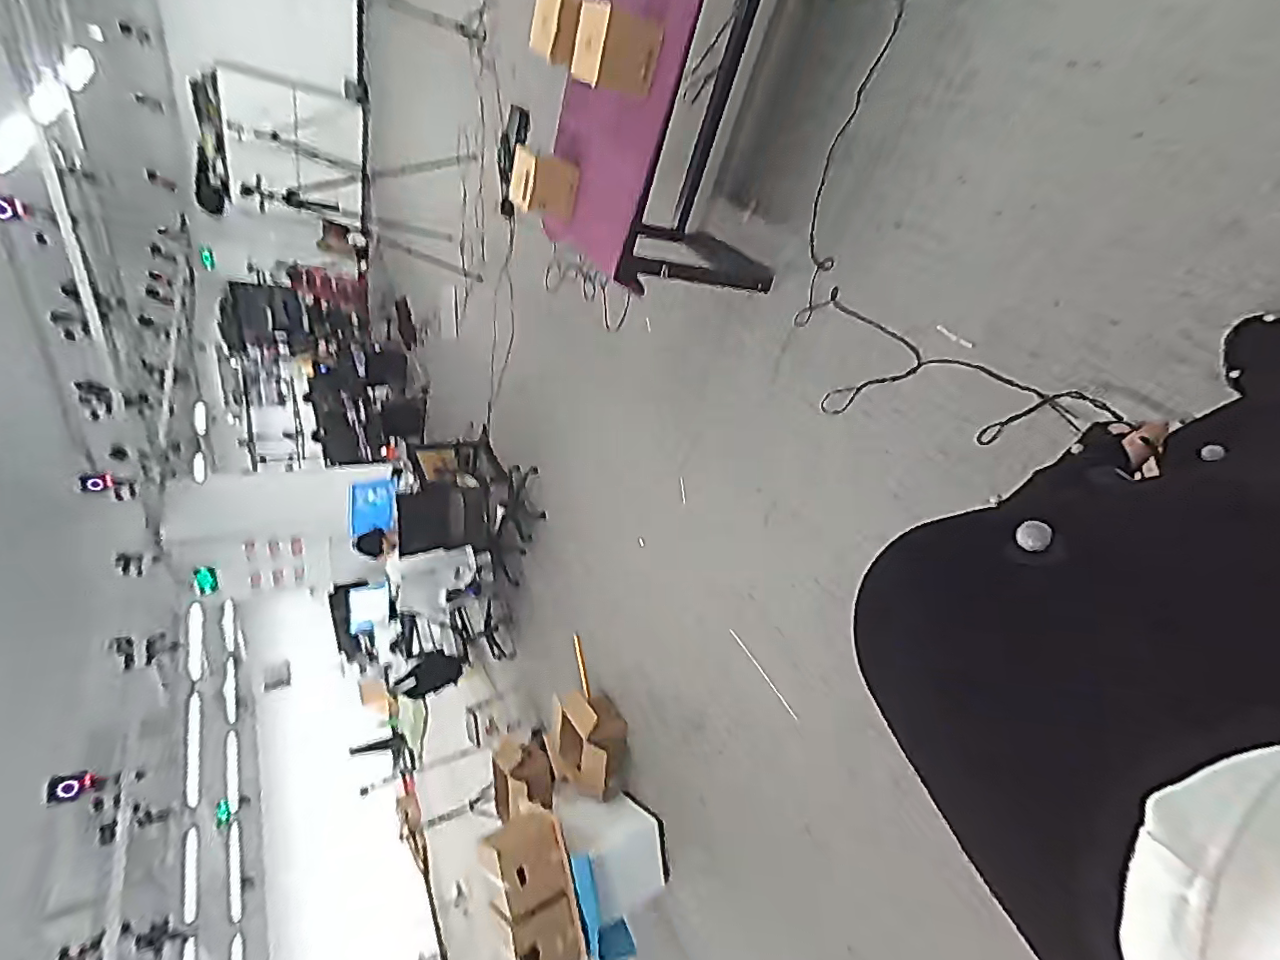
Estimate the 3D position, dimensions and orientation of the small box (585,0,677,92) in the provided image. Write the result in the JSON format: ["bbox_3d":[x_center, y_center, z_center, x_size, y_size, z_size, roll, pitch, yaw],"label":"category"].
[{"bbox_3d":[-0.026,-1.186,1.471,0.179,0.176,0.168,55,139,38],"label":"small box"}]

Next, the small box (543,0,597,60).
[{"bbox_3d":[-0.174,-1.406,1.662,0.179,0.176,0.168,54,137,35],"label":"small box"}]
